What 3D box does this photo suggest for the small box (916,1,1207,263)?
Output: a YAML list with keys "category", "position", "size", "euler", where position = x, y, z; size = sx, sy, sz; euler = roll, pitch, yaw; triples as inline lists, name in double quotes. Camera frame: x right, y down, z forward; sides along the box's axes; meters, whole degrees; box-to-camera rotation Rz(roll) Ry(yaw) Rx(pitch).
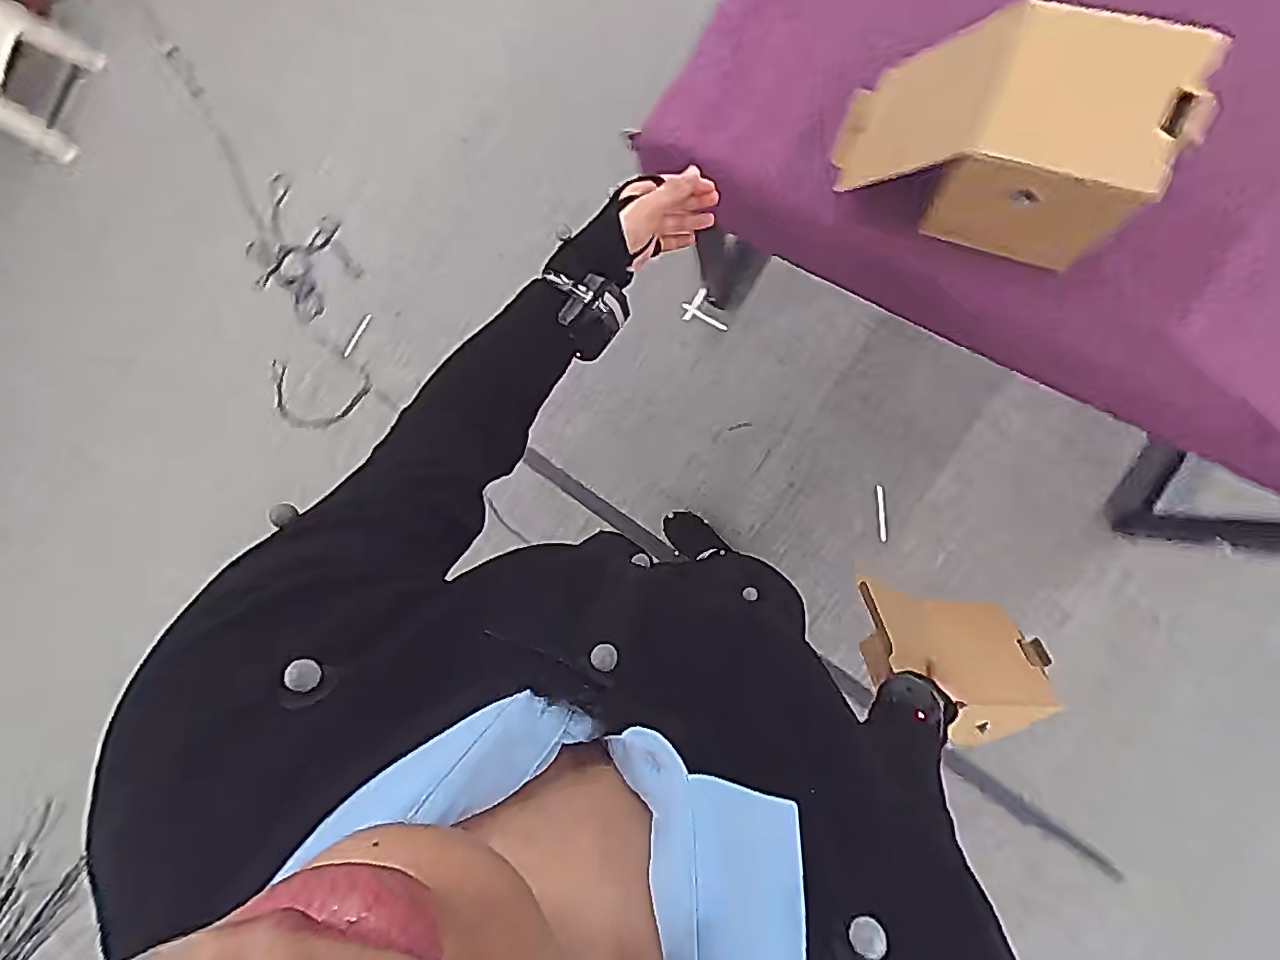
- category: "small box"
  position: [0.442, -0.371, 0.605]
  size: [0.179, 0.176, 0.168]
  euler: [22, 92, 12]
